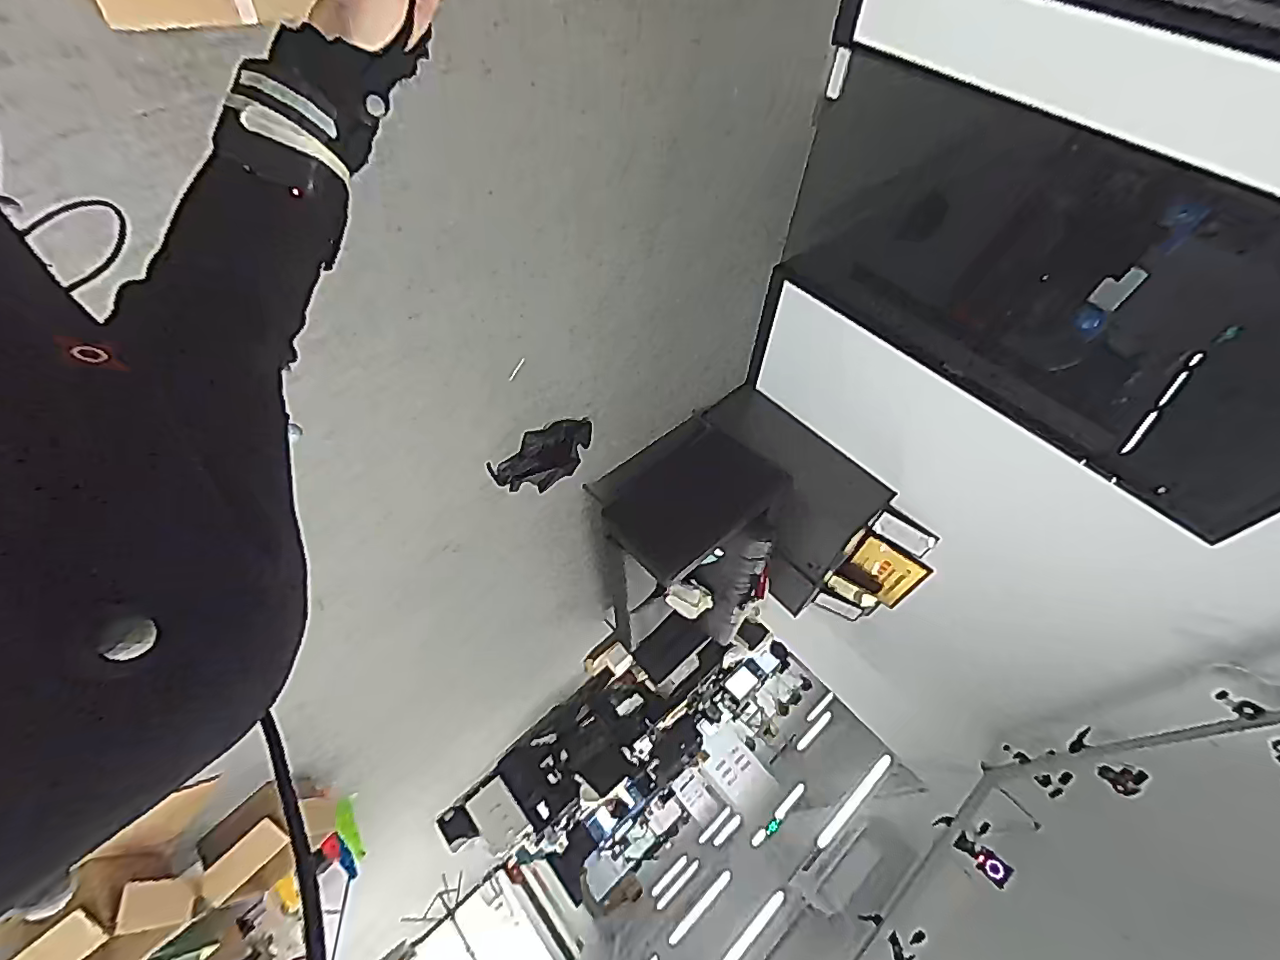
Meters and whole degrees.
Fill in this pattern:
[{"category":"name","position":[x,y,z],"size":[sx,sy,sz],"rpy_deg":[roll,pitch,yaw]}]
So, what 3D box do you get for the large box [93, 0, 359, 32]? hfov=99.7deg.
[{"category":"large box","position":[-0.606,-0.836,0.633],"size":[0.320,0.320,0.408],"rpy_deg":[-32,154,-28]}]
